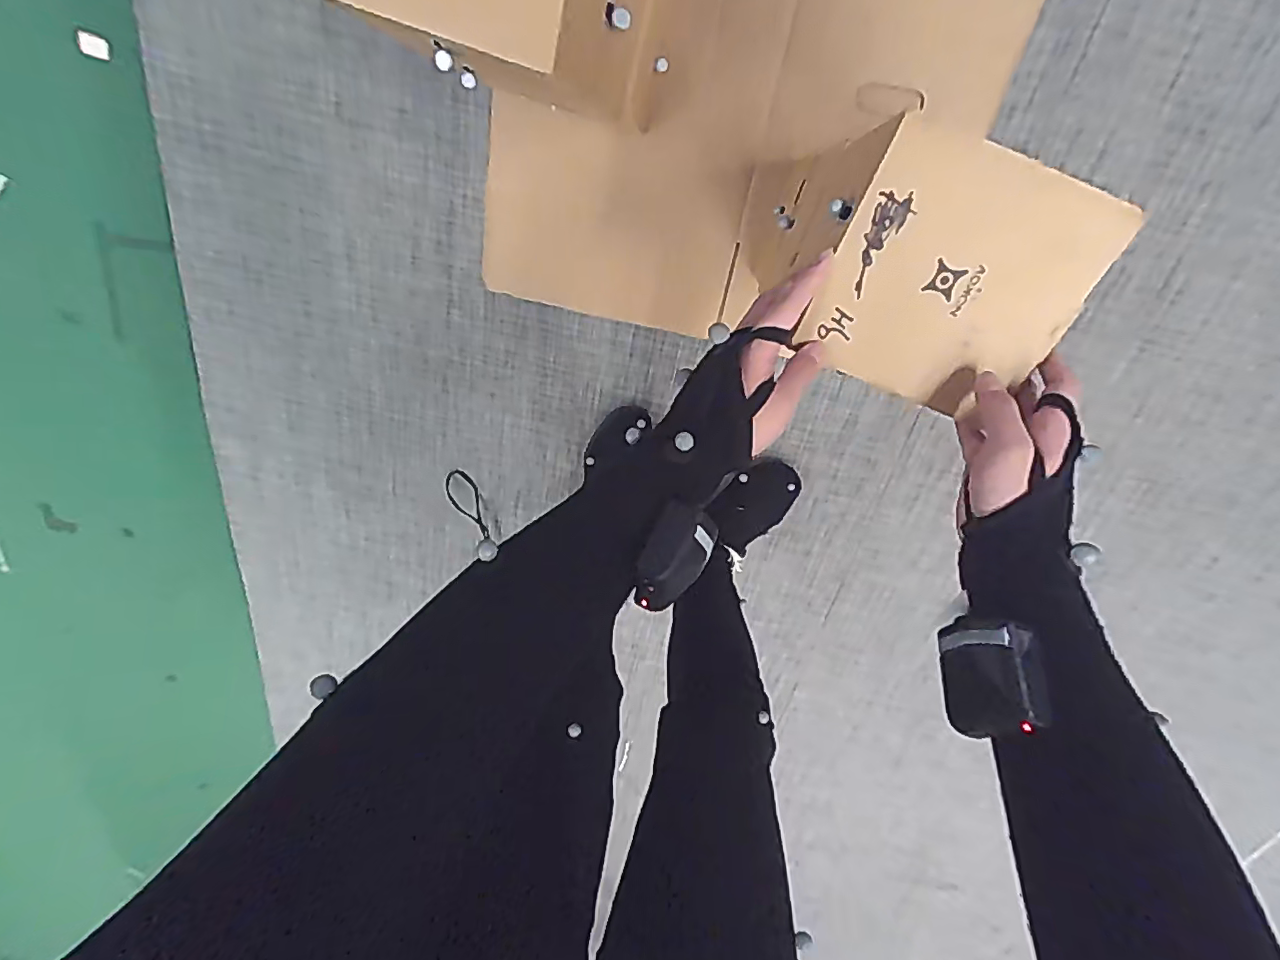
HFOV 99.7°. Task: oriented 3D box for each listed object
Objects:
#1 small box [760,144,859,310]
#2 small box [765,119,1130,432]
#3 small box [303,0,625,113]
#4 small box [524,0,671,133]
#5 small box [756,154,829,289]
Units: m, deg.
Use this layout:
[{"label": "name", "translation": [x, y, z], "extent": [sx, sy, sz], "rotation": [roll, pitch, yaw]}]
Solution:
[{"label": "small box", "translation": [0.248, -0.246, 0.601], "extent": [0.179, 0.176, 0.168], "rotation": [22, 117, -2]}, {"label": "small box", "translation": [0.224, -0.168, 0.454], "extent": [0.179, 0.176, 0.168], "rotation": [21, 115, -3]}, {"label": "small box", "translation": [-0.110, -0.391, 0.391], "extent": [0.179, 0.176, 0.168], "rotation": [19, 119, 0]}, {"label": "small box", "translation": [-0.069, -0.555, 0.674], "extent": [0.179, 0.176, 0.168], "rotation": [16, 118, -1]}, {"label": "small box", "translation": [0.272, -0.327, 0.743], "extent": [0.179, 0.176, 0.168], "rotation": [18, 118, 0]}]
